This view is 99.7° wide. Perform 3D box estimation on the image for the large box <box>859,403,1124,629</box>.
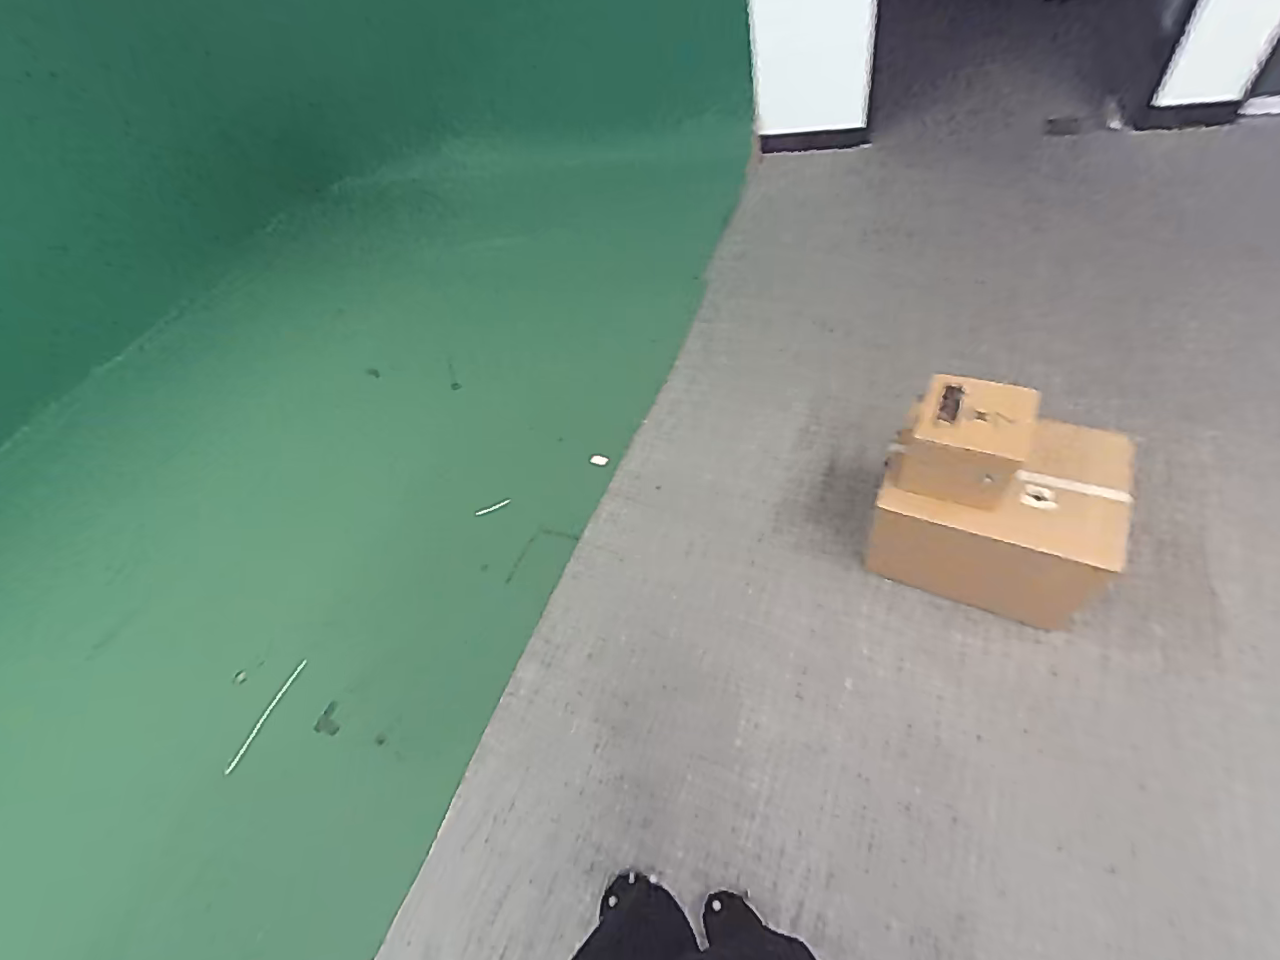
[{"bbox_3d":[0.741,0.075,1.193,0.408,0.320,0.320,17,63,25],"label":"large box"}]
